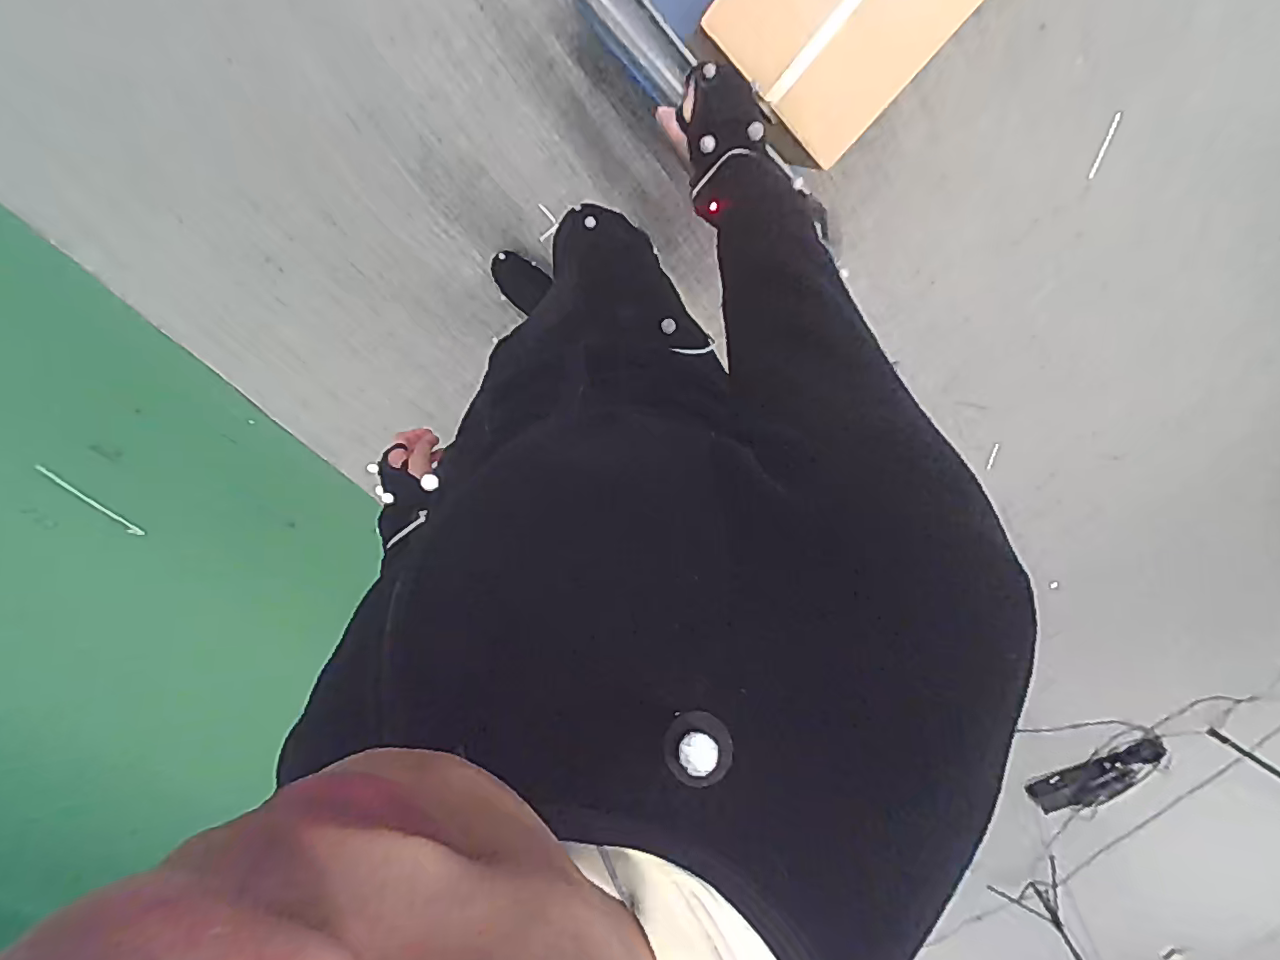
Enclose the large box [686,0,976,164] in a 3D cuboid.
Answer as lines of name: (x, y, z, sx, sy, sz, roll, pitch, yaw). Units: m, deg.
large box: (0.332, -0.831, 0.933, 0.320, 0.320, 0.408, 36, 114, -22)
